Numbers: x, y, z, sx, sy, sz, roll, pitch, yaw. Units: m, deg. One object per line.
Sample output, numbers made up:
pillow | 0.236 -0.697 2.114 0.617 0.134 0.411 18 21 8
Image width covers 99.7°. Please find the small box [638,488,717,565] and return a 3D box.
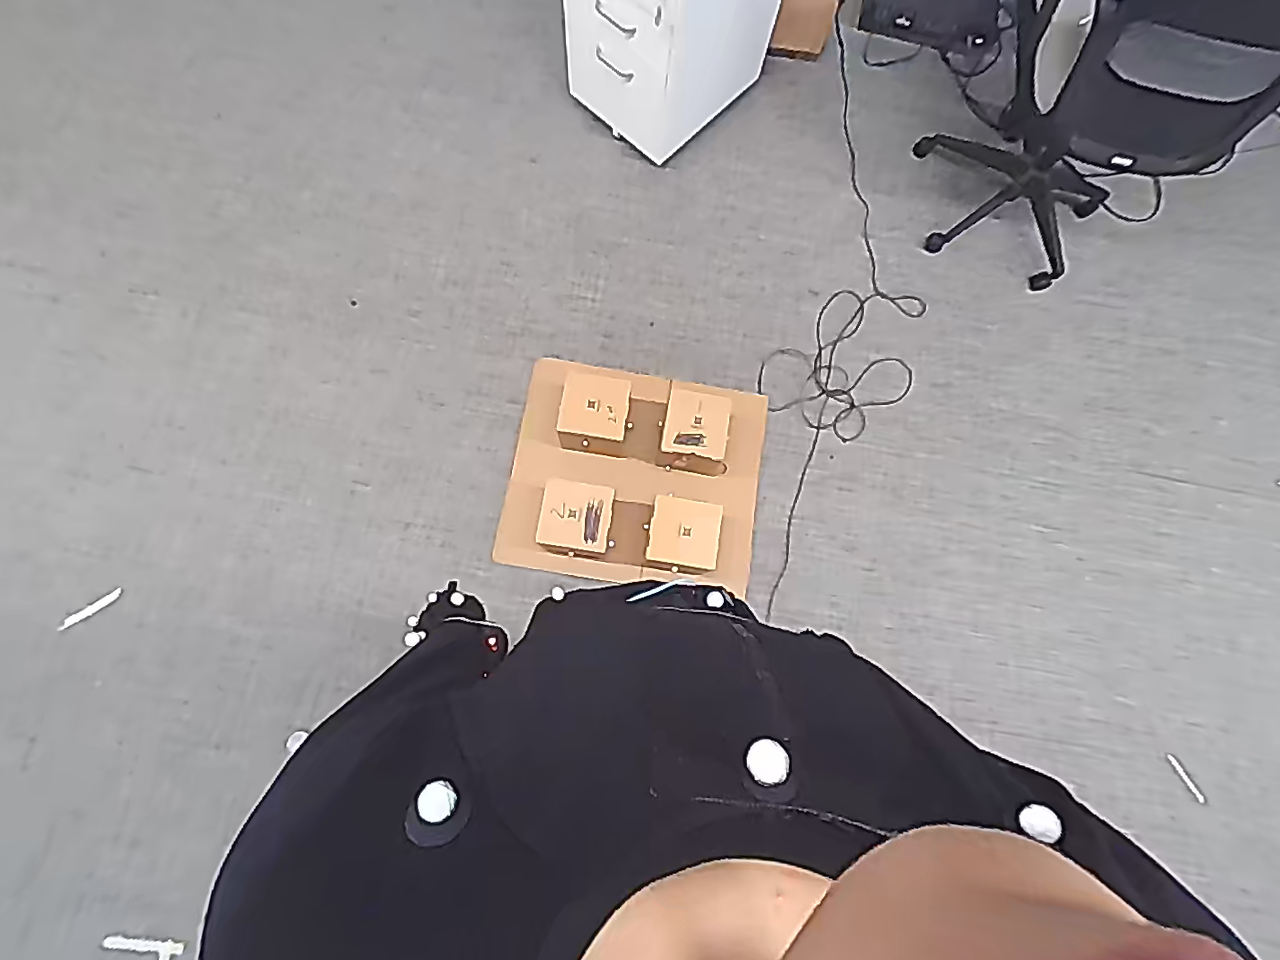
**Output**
small box | 0.094 0.129 1.428 0.179 0.176 0.168 10 78 1
